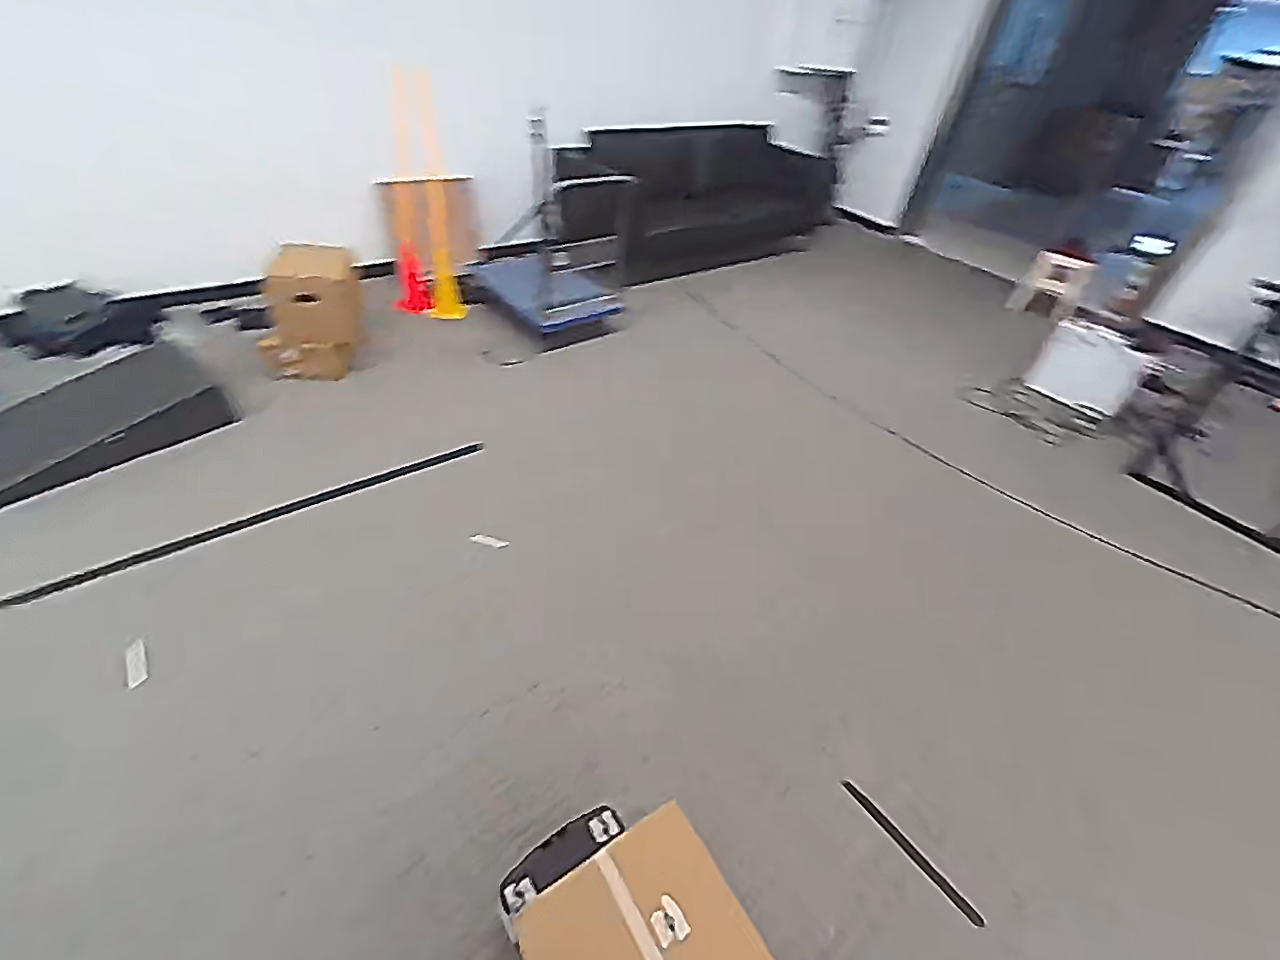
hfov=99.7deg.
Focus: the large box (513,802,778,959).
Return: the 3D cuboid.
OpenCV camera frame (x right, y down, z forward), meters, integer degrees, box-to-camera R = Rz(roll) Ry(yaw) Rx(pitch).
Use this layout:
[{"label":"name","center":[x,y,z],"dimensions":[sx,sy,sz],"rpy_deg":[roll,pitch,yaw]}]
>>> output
[{"label":"large box","center":[0.034,0.831,0.851],"dimensions":[0.320,0.320,0.408],"rpy_deg":[-19,47,-28]}]
